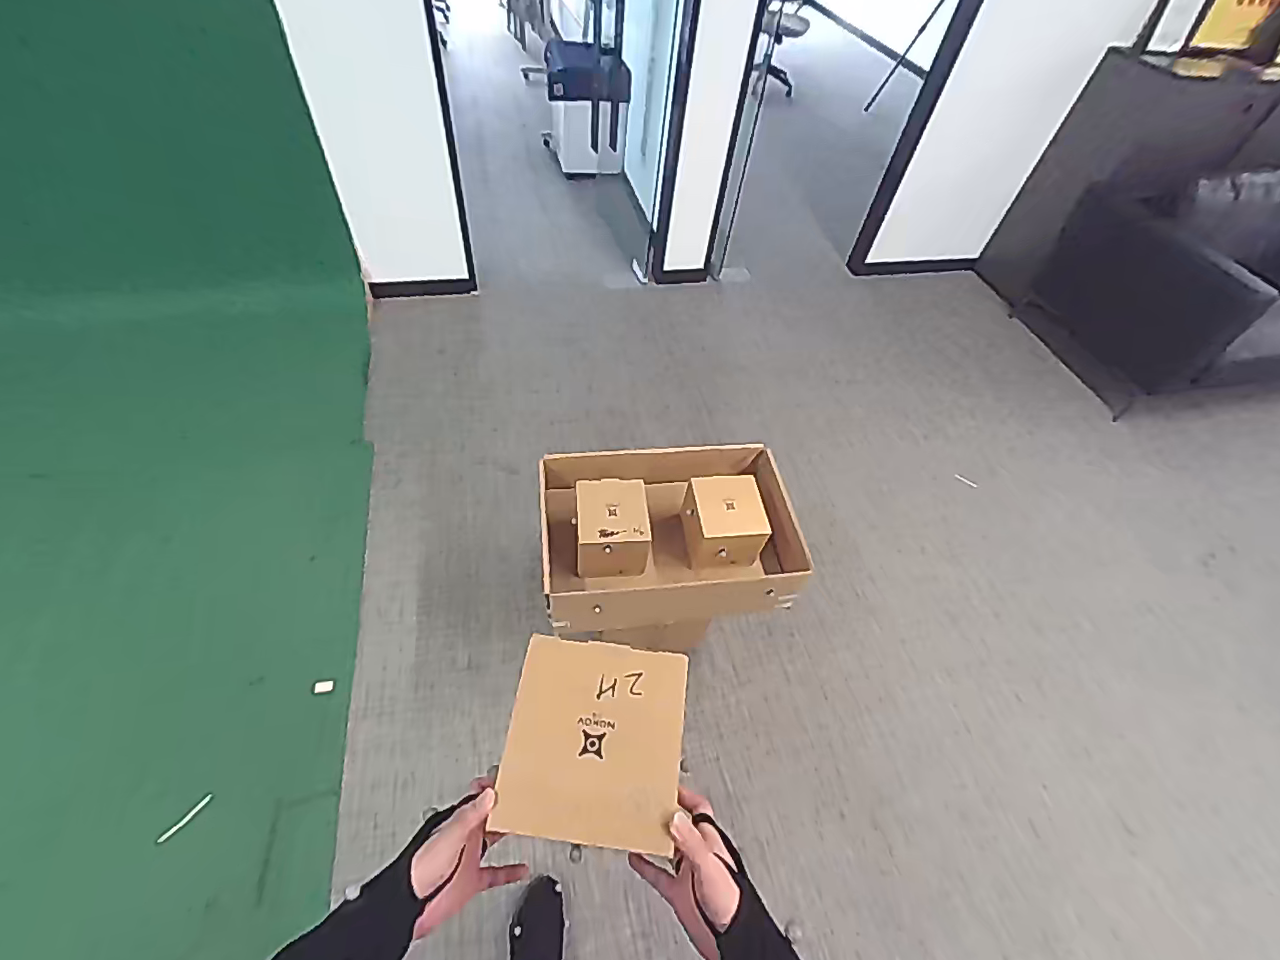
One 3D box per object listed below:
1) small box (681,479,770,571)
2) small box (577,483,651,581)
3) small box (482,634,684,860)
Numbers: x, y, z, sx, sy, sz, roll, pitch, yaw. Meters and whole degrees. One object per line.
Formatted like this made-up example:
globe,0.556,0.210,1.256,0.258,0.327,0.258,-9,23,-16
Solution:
small box,0.206,0.118,1.354,0.168,0.176,0.179,-3,52,-9
small box,-0.070,0.127,1.311,0.168,0.176,0.179,-2,52,-7
small box,-0.049,0.287,0.578,0.168,0.176,0.179,8,56,3
